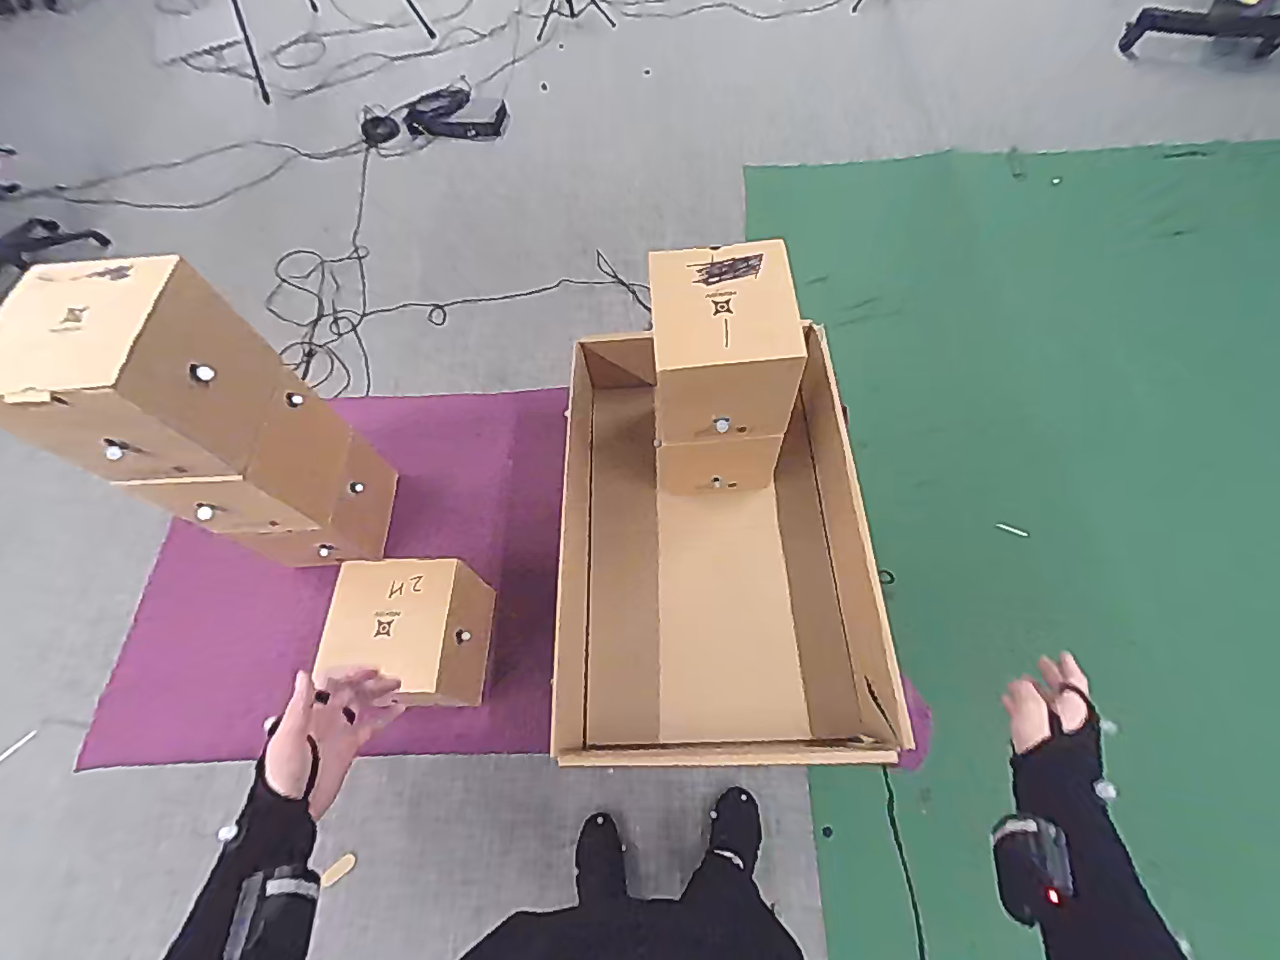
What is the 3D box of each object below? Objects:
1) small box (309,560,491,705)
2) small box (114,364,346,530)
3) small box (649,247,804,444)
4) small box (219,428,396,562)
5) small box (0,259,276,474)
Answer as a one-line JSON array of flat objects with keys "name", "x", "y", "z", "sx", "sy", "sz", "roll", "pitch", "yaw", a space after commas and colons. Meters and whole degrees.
[{"name": "small box", "x": -0.325, "y": 0.224, "z": 0.775, "sx": 0.168, "sy": 0.176, "sz": 0.179, "roll": -1, "pitch": 62, "yaw": 3}, {"name": "small box", "x": -0.540, "y": -0.036, "z": 0.745, "sx": 0.168, "sy": 0.176, "sz": 0.179, "roll": -2, "pitch": 63, "yaw": 3}, {"name": "small box", "x": 0.100, "y": -0.165, "z": 0.693, "sx": 0.168, "sy": 0.176, "sz": 0.179, "roll": -4, "pitch": 65, "yaw": 4}, {"name": "small box", "x": -0.528, "y": 0.033, "z": 0.891, "sx": 0.168, "sy": 0.176, "sz": 0.179, "roll": -2, "pitch": 63, "yaw": 3}, {"name": "small box", "x": -0.550, "y": -0.114, "z": 0.601, "sx": 0.168, "sy": 0.176, "sz": 0.179, "roll": -3, "pitch": 64, "yaw": 2}]
